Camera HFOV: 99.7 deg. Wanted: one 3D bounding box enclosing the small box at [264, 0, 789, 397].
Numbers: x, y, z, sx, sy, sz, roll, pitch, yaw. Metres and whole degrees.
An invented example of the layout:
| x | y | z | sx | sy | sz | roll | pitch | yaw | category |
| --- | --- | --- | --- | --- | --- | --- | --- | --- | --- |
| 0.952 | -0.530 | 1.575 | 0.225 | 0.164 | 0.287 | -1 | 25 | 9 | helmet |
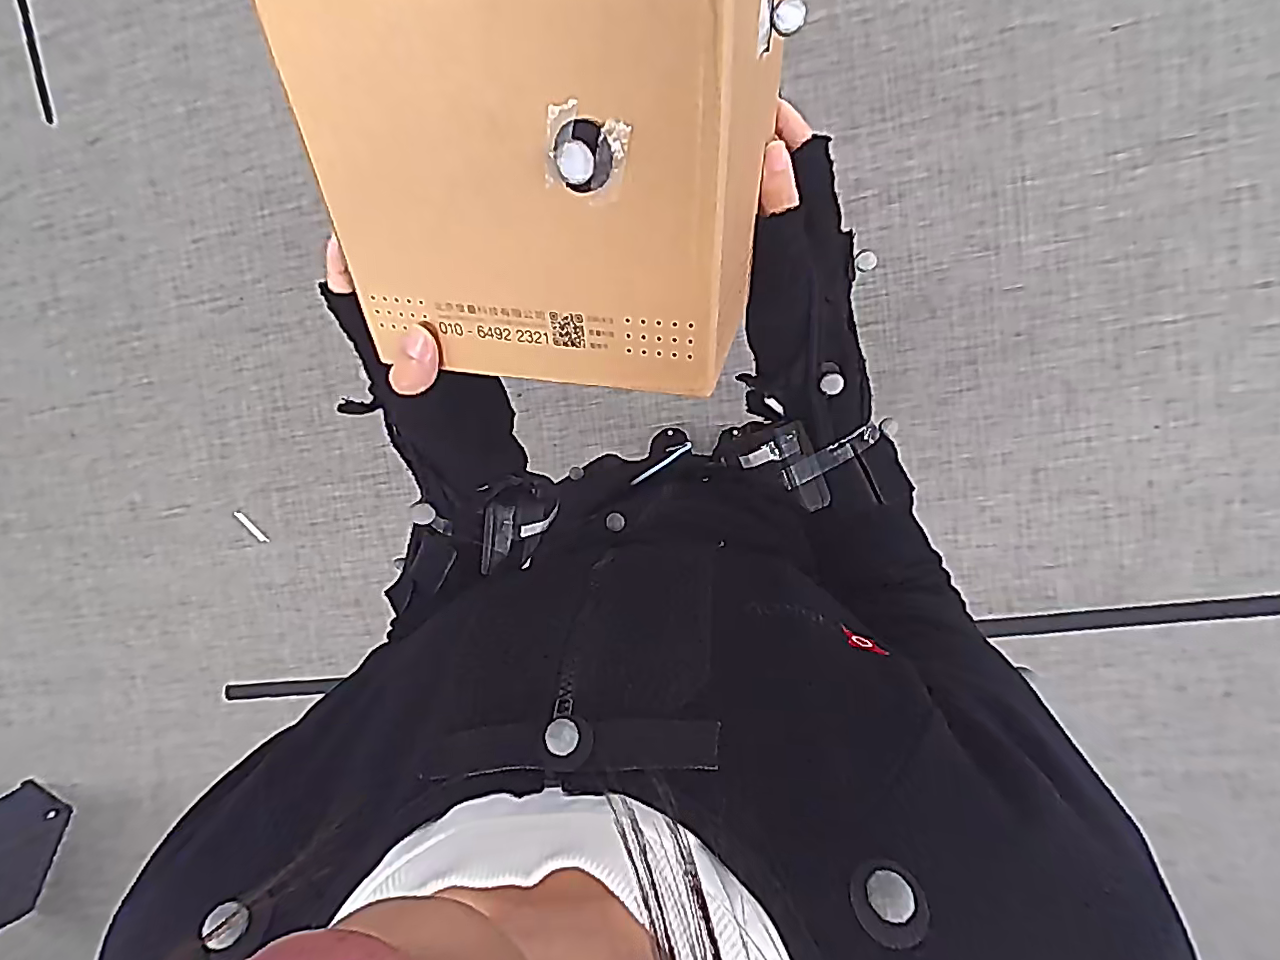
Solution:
| x | y | z | sx | sy | sz | roll | pitch | yaw | category |
| --- | --- | --- | --- | --- | --- | --- | --- | --- | --- |
| -0.024 | -0.157 | 0.264 | 0.168 | 0.179 | 0.176 | 10 | 130 | 15 | small box |
